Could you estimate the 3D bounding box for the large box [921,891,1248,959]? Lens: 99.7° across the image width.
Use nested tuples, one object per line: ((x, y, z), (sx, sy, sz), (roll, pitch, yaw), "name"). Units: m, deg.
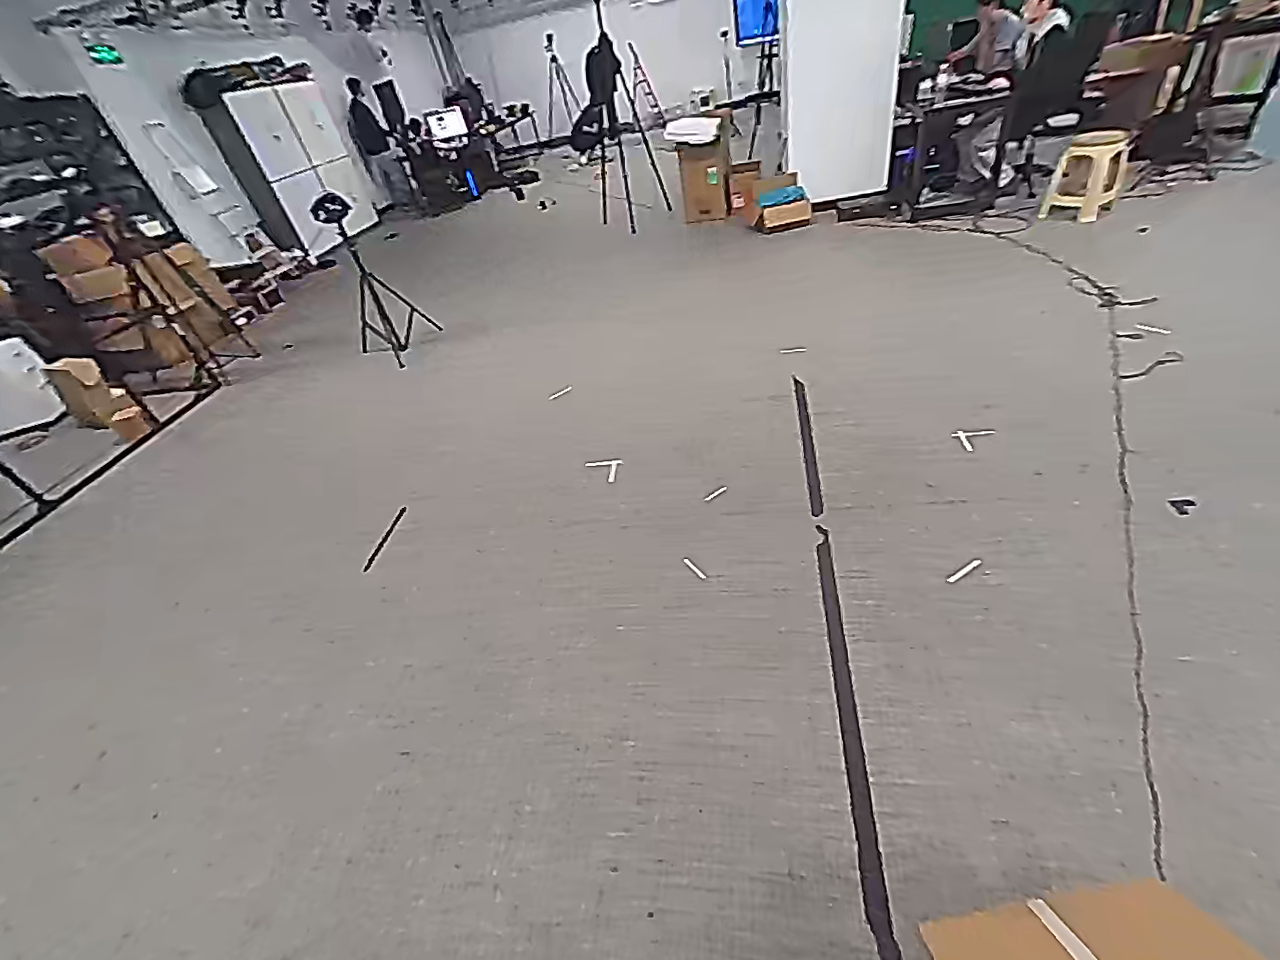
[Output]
((0.530, 0.687, 0.491), (0.320, 0.408, 0.320), (-18, 82, 6), "large box")
